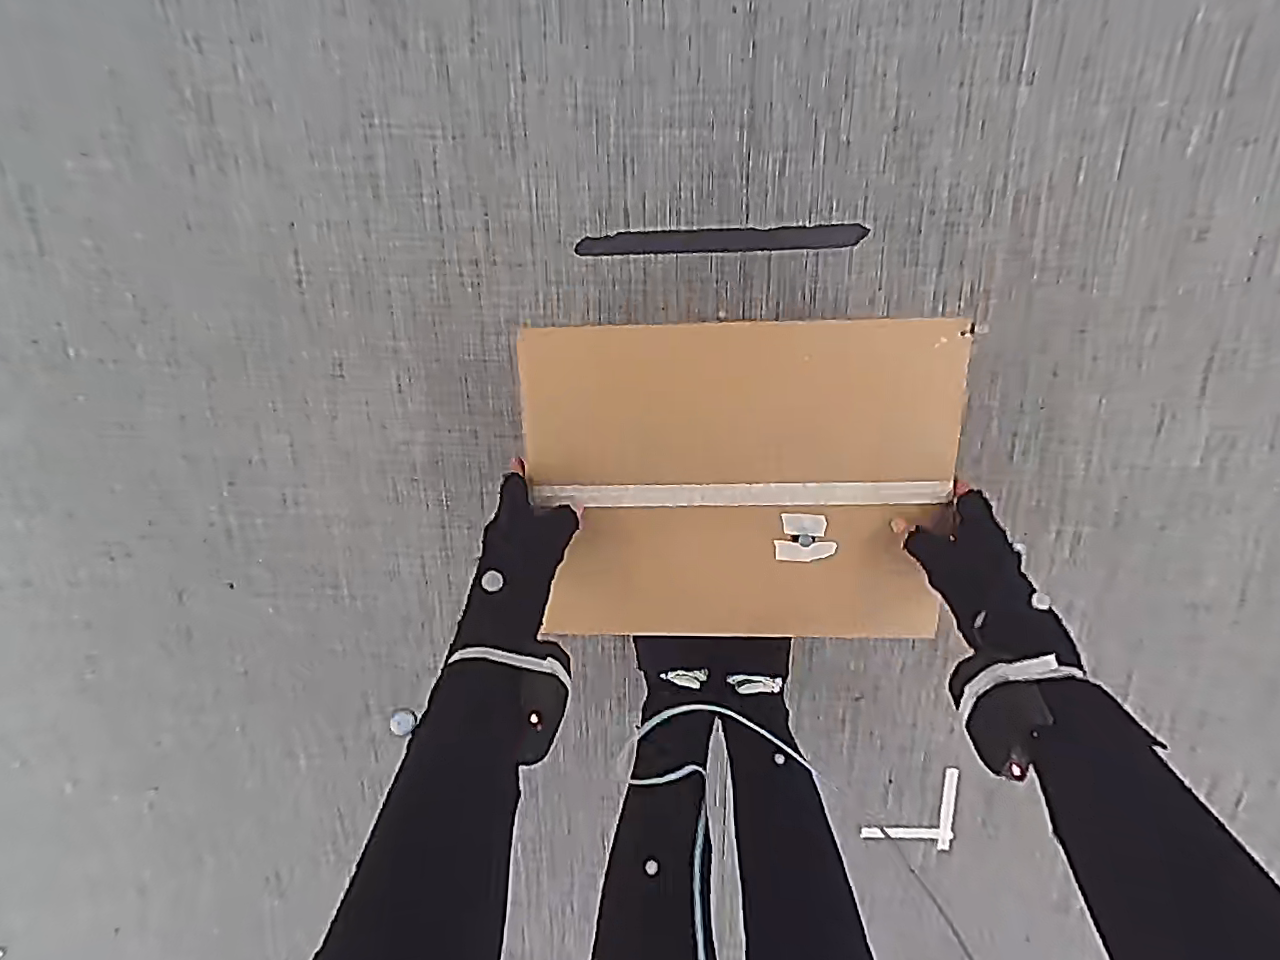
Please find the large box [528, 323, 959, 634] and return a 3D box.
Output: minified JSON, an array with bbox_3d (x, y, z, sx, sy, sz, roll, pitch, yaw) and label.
[{"bbox_3d":[0.104,-0.023,0.679,0.408,0.320,0.320,-1,105,4],"label":"large box"}]
